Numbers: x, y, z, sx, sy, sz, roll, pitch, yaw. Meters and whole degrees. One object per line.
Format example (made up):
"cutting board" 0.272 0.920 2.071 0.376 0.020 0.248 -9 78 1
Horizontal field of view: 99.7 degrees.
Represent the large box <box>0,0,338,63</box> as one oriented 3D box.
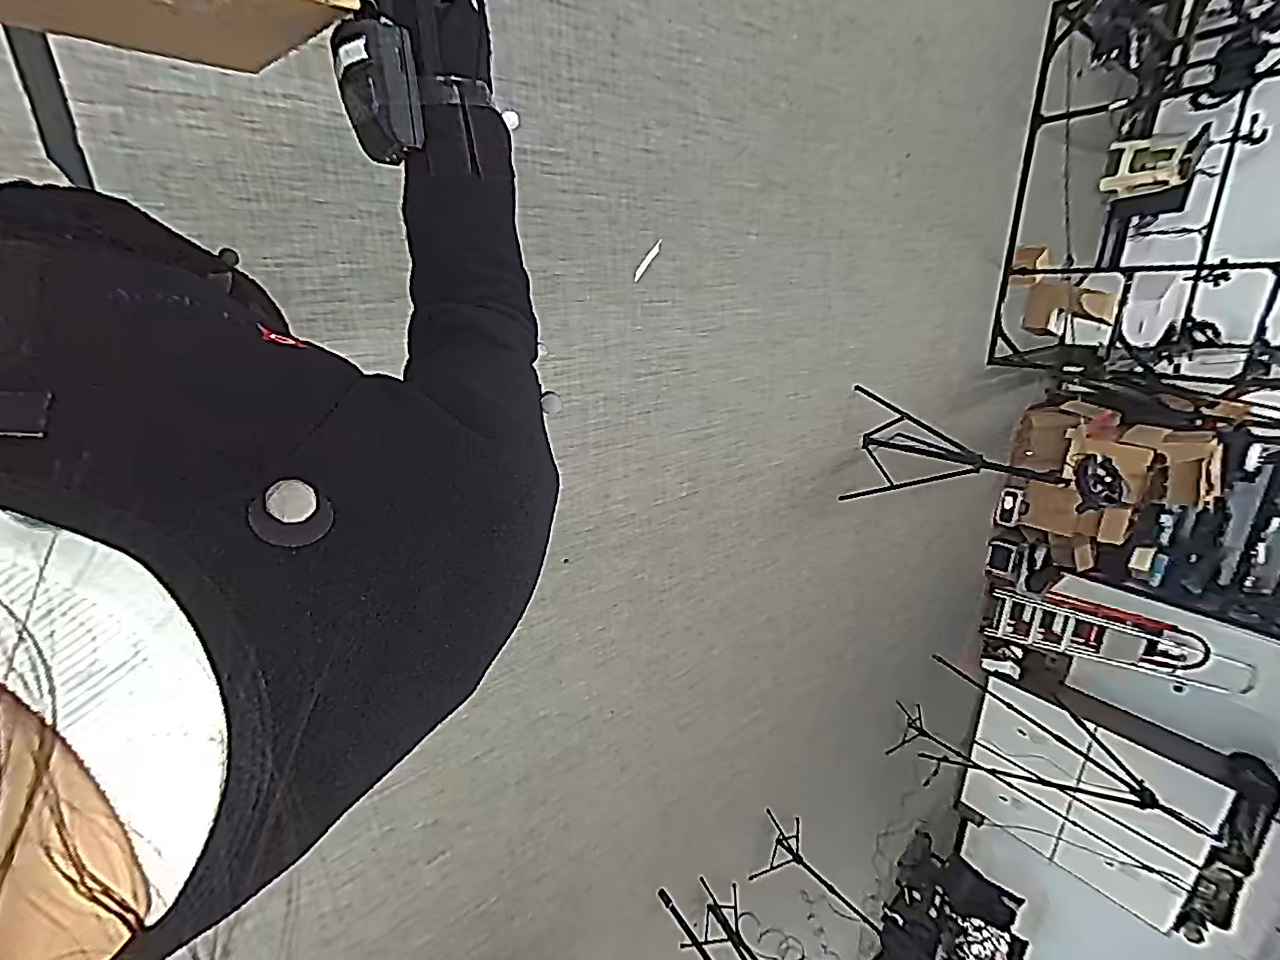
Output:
"large box" -0.399 -0.414 0.215 0.408 0.320 0.320 -18 125 -39
